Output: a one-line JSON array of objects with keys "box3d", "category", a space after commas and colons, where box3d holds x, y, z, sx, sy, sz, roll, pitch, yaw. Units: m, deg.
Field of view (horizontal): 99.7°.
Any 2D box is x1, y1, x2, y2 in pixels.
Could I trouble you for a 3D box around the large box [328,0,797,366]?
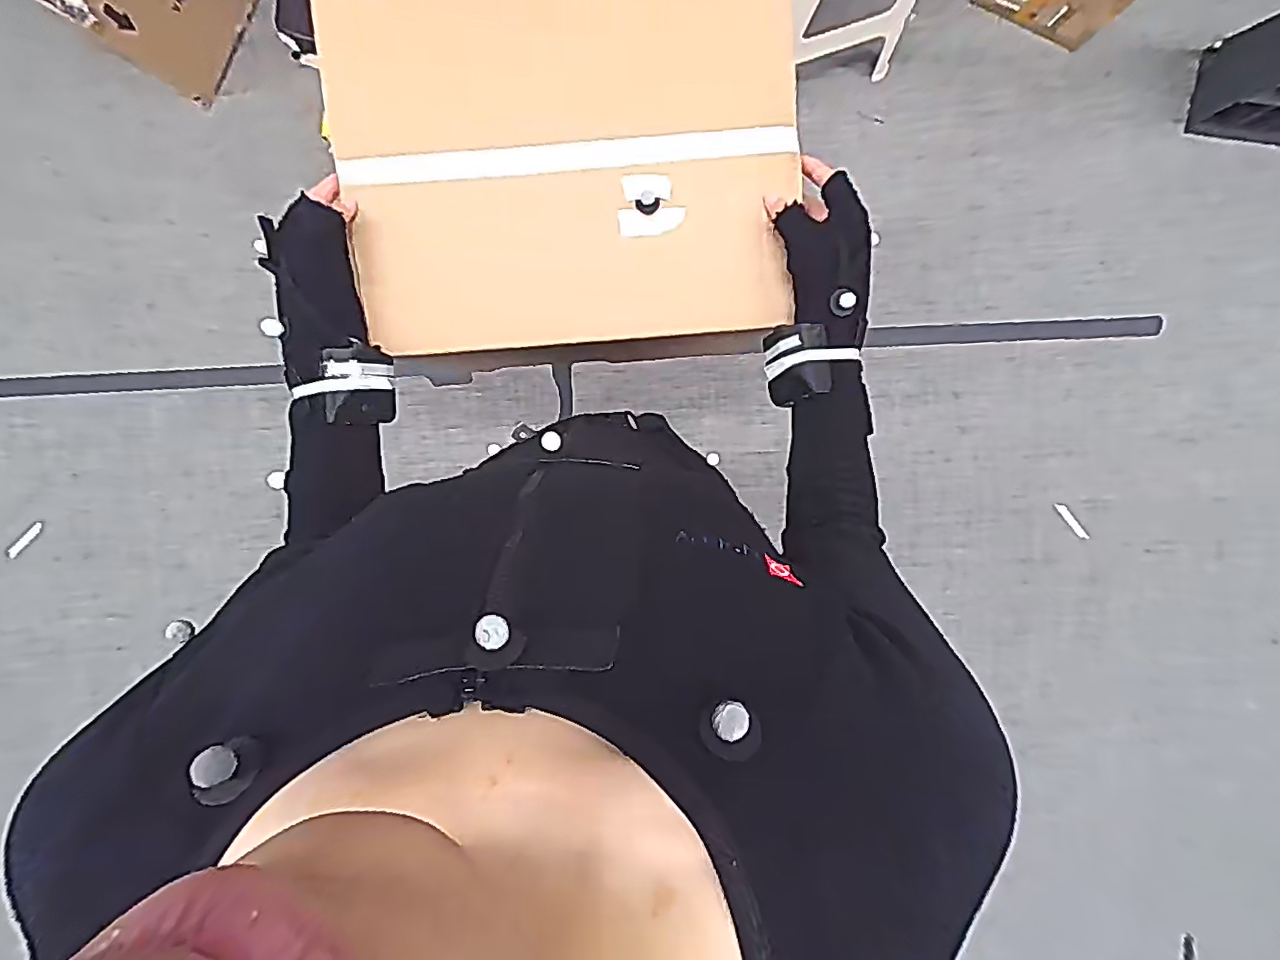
[{"box3d": [-0.066, -0.315, 0.635, 0.408, 0.320, 0.320, -4, 100, -1], "category": "large box"}]
